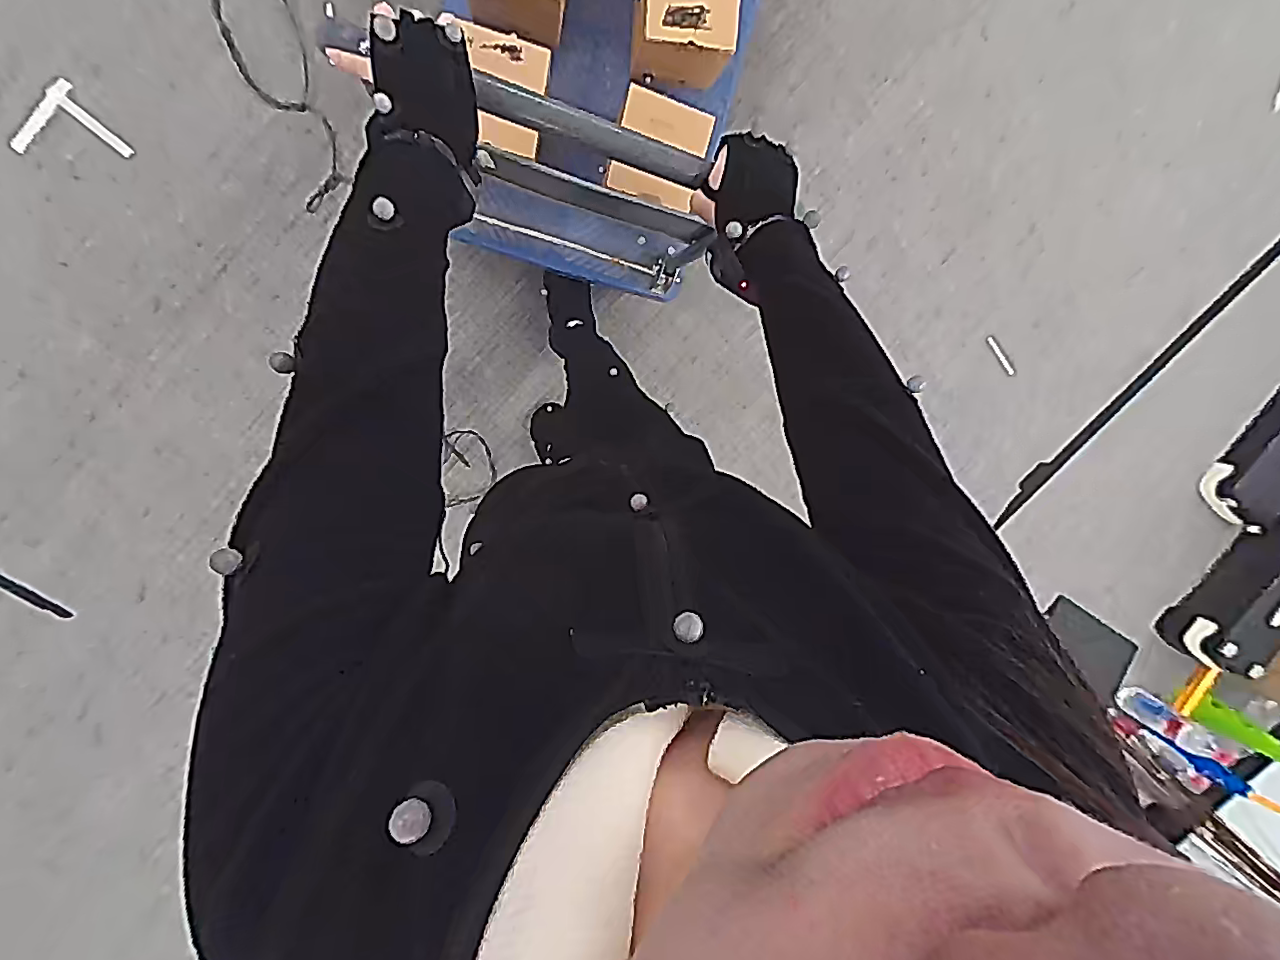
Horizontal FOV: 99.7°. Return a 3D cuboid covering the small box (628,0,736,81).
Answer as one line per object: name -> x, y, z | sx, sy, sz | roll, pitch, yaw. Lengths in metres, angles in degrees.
small box -> 0.074, -0.872, 0.993 | 0.168, 0.176, 0.179 | 1, 105, -12

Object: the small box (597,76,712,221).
small box -> 0.018, -0.628, 1.055 | 0.168, 0.176, 0.179 | 13, 103, -15

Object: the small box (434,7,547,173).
small box -> -0.265, -0.685, 0.979 | 0.168, 0.176, 0.179 | 9, 104, -15
